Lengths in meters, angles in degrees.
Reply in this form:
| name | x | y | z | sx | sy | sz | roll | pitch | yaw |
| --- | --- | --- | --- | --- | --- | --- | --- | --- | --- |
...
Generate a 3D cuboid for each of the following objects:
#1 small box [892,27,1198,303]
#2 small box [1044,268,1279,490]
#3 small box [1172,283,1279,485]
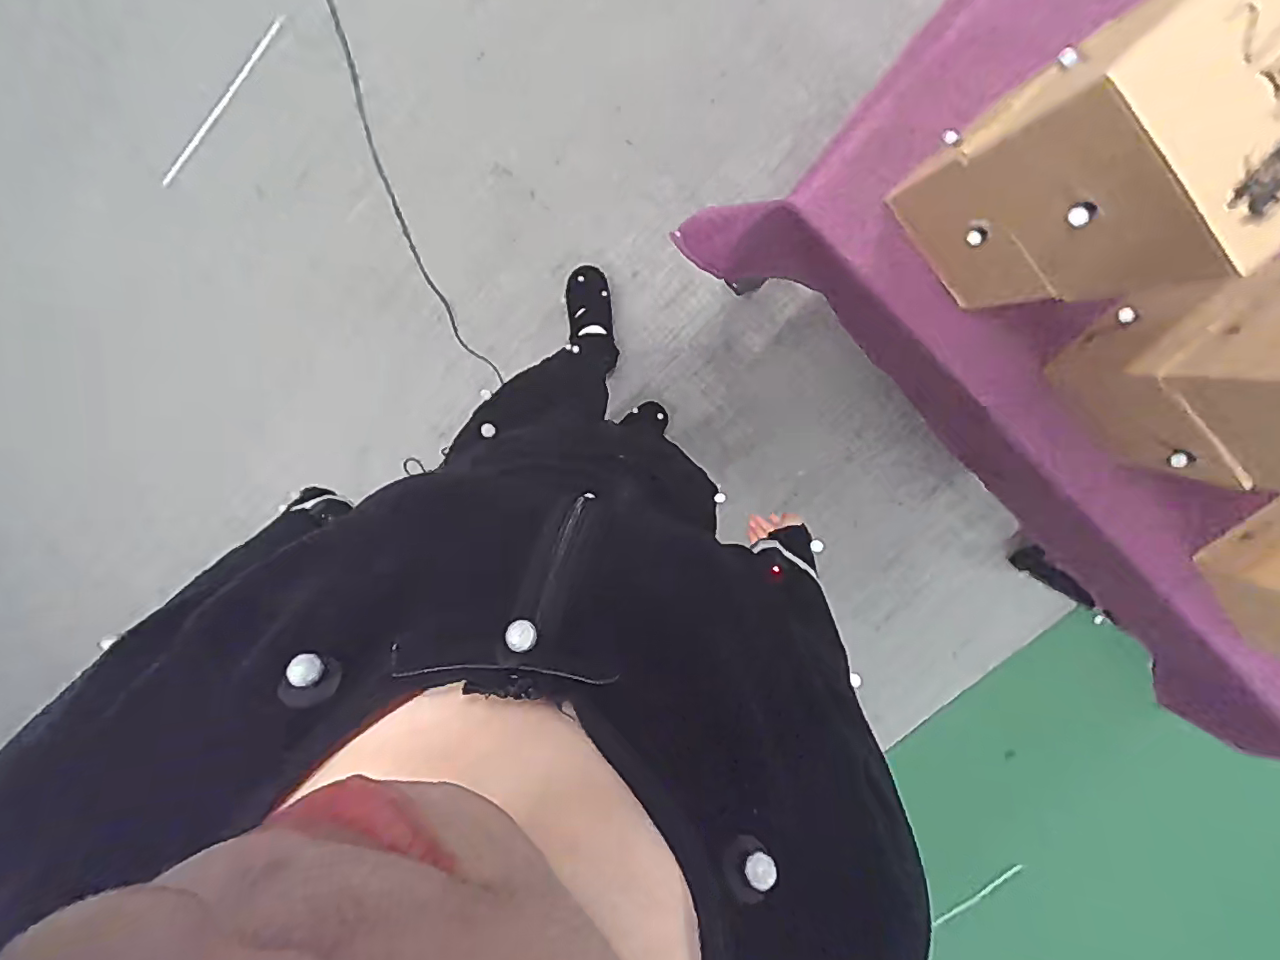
| name | x | y | z | sx | sy | sz | roll | pitch | yaw |
| --- | --- | --- | --- | --- | --- | --- | --- | --- | --- |
| small box | 0.416 | -0.314 | 0.589 | 0.168 | 0.176 | 0.179 | -39 | 101 | 9 |
| small box | 0.641 | -0.120 | 0.633 | 0.168 | 0.176 | 0.179 | -43 | 99 | 9 |
| small box | 0.646 | -0.086 | 0.472 | 0.179 | 0.176 | 0.168 | 42 | 100 | -10 |
